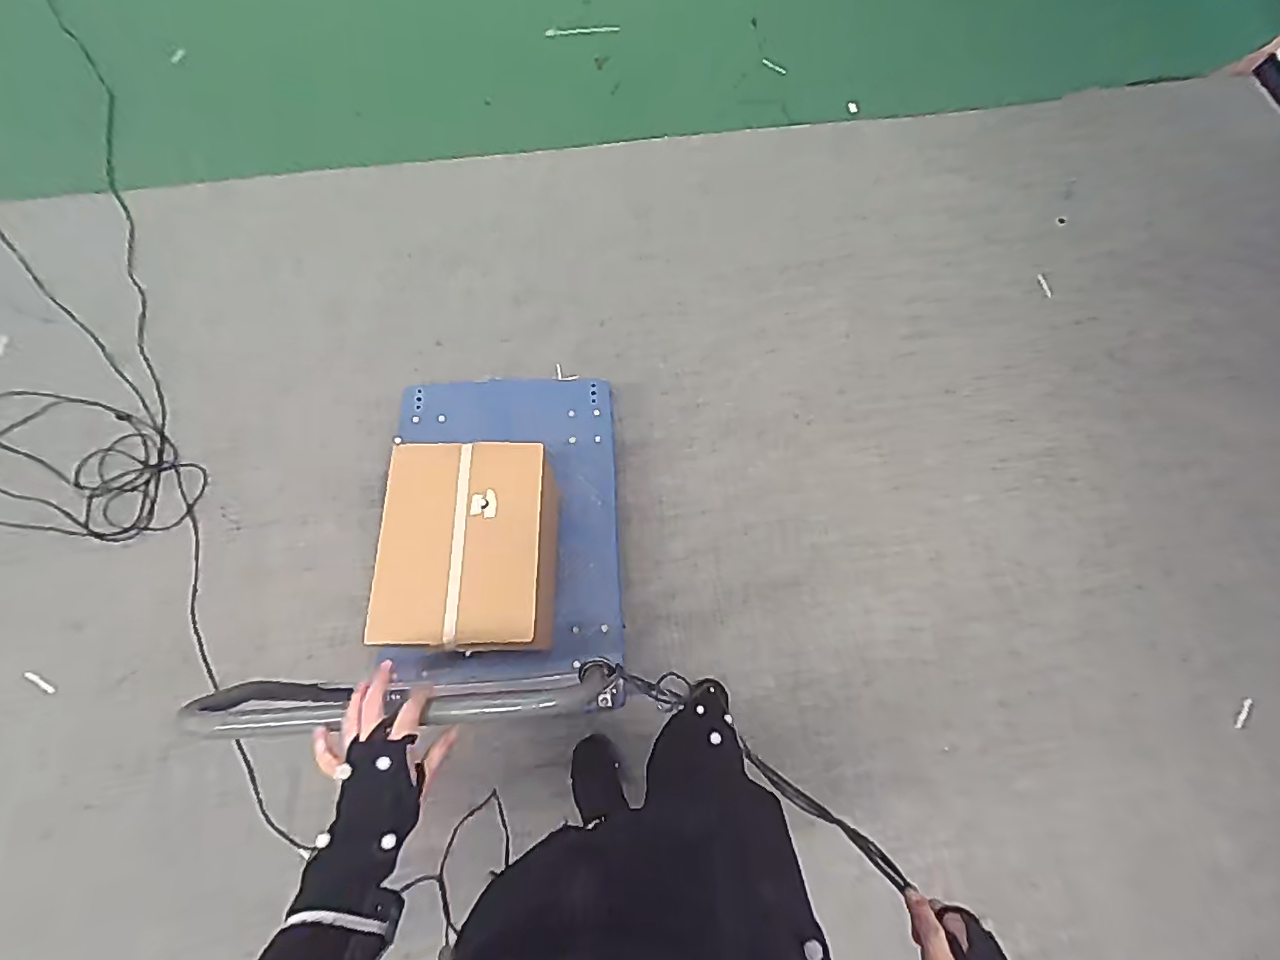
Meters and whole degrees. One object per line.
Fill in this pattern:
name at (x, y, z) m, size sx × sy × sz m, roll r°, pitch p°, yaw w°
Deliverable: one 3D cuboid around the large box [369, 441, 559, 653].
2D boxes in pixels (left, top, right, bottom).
large box at (-0.352, 0.161, 1.194) m, size 0.320 × 0.320 × 0.408 m, roll 0°, pitch 70°, yaw -2°
